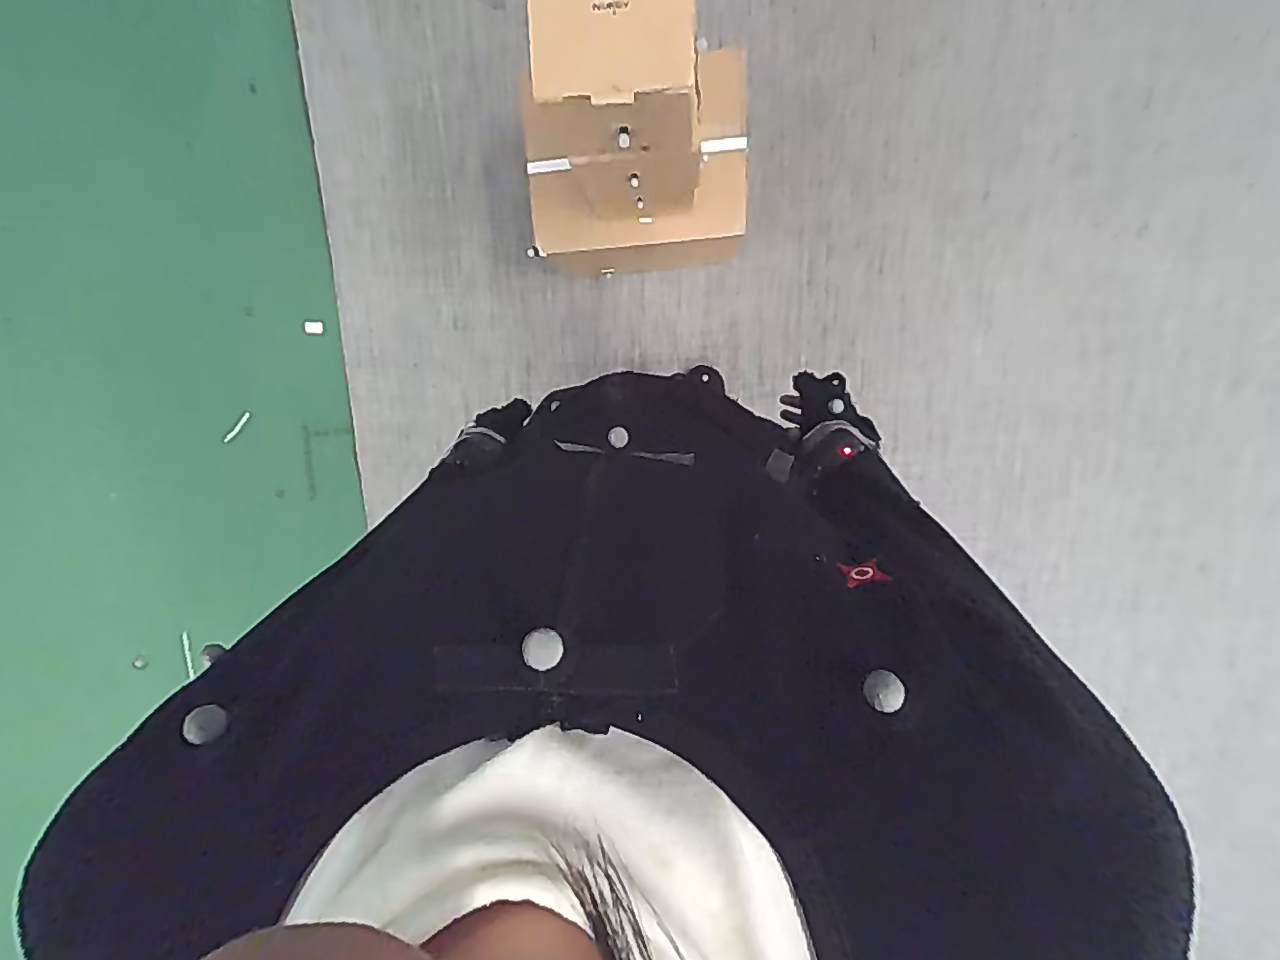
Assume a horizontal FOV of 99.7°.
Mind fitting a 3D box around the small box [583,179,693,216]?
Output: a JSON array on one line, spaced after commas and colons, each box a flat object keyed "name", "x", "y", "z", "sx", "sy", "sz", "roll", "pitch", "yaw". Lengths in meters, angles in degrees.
[{"name": "small box", "x": 0.000, "y": -0.559, "z": 0.919, "sx": 0.179, "sy": 0.176, "sz": 0.168, "roll": -1, "pitch": 104, "yaw": 5}]

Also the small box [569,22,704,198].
[{"name": "small box", "x": -0.007, "y": -0.516, "z": 0.761, "sx": 0.179, "sy": 0.176, "sz": 0.168, "roll": -5, "pitch": 103, "yaw": 6}]

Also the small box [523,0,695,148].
[{"name": "small box", "x": -0.025, "y": -0.487, "z": 0.600, "sx": 0.168, "sy": 0.176, "sz": 0.179, "roll": 1, "pitch": 104, "yaw": 6}]
